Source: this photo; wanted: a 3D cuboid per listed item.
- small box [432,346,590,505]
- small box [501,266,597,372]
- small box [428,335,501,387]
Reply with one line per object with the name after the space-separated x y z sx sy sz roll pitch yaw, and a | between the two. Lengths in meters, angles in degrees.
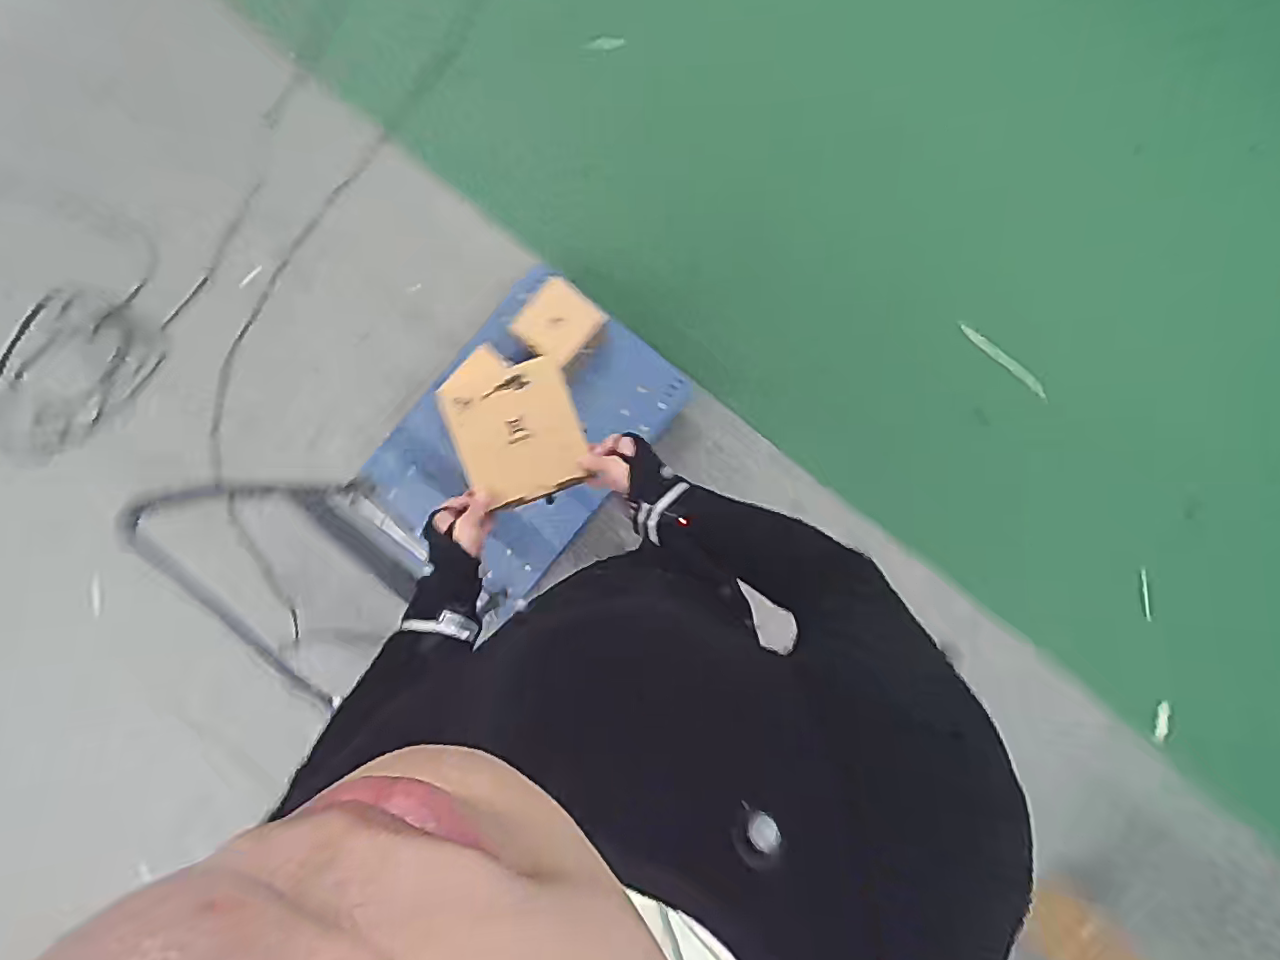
-0.176 -0.074 0.797 0.168 0.176 0.179 -19 91 -4 | small box
-0.226 -0.407 1.404 0.168 0.176 0.179 40 88 1 | small box
-0.402 -0.236 1.396 0.179 0.176 0.168 42 89 1 | small box
